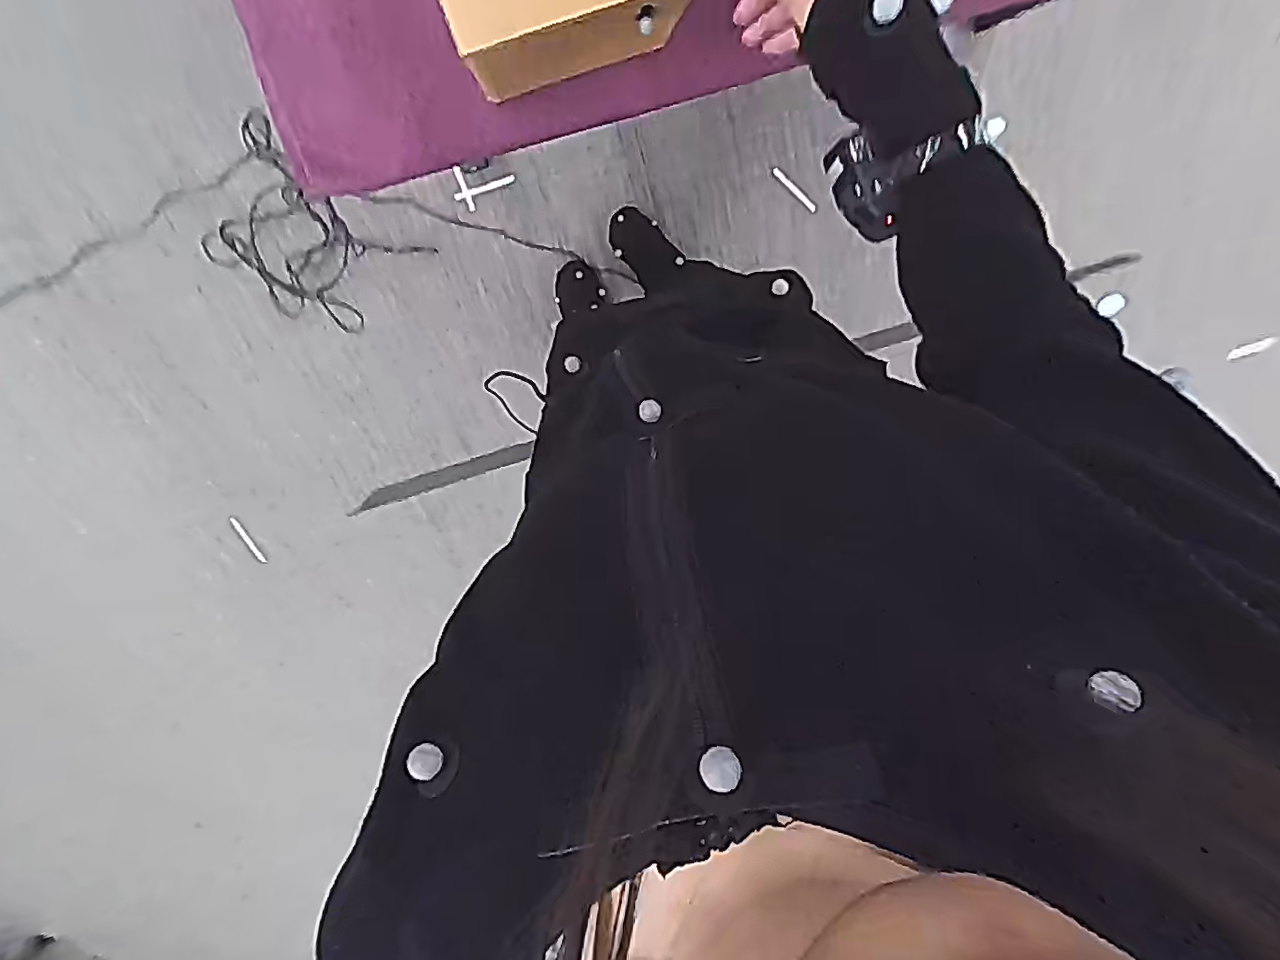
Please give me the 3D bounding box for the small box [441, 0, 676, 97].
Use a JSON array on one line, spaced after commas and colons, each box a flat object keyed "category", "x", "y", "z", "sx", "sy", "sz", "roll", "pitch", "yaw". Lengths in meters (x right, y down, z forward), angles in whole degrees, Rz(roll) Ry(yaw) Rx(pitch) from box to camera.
[{"category": "small box", "x": -0.071, "y": -0.412, "z": 0.394, "sx": 0.179, "sy": 0.176, "sz": 0.168, "roll": -20, "pitch": 117, "yaw": 0}]
